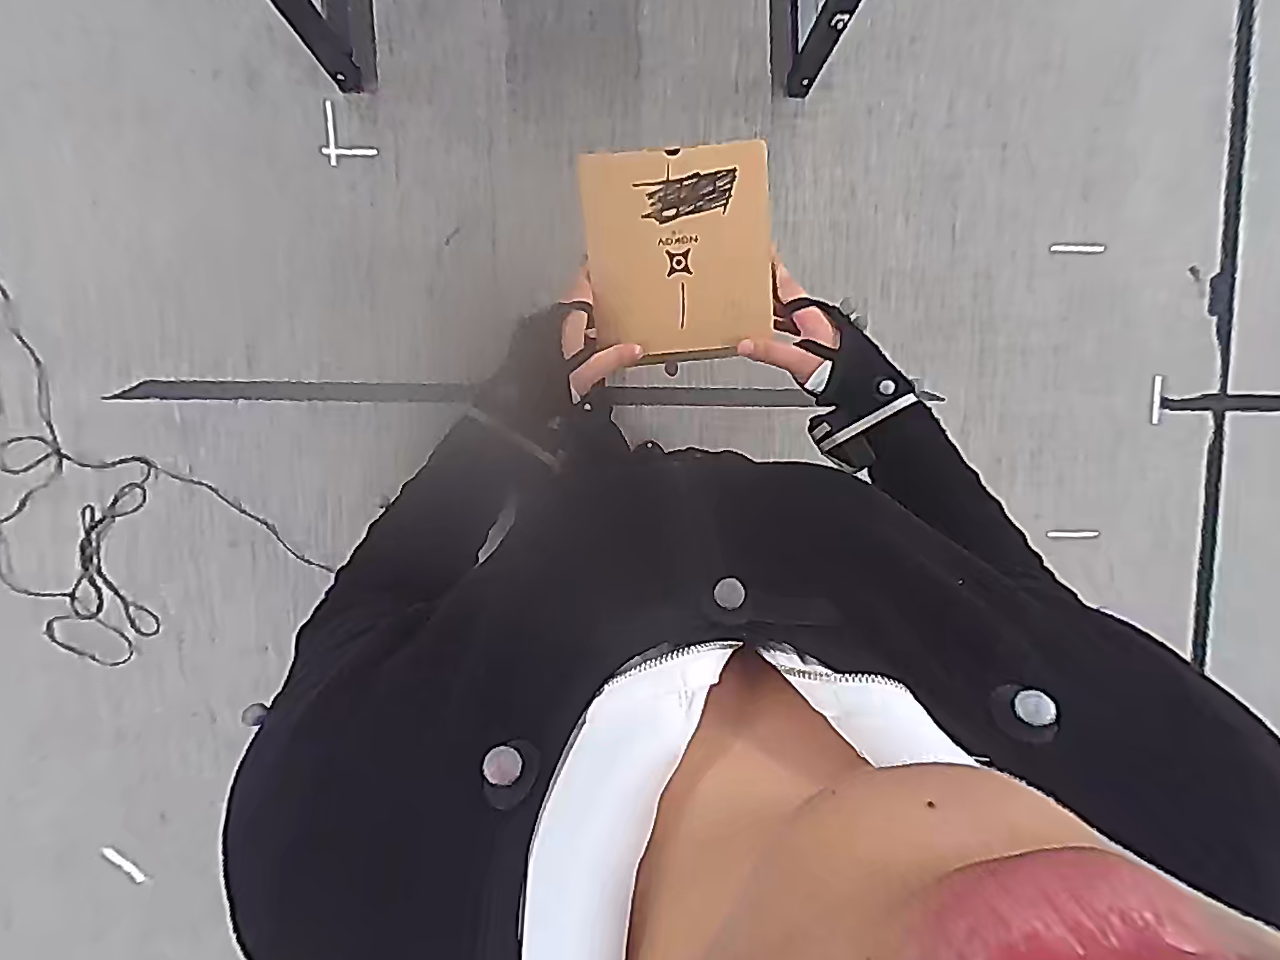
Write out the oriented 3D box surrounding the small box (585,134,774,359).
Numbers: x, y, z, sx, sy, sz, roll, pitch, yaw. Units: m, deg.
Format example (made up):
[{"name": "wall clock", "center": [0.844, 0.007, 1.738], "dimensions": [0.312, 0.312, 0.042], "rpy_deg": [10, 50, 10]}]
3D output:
[{"name": "small box", "center": [0.035, -0.226, 0.567], "dimensions": [0.168, 0.176, 0.179], "rpy_deg": [-5, 99, 0]}]
